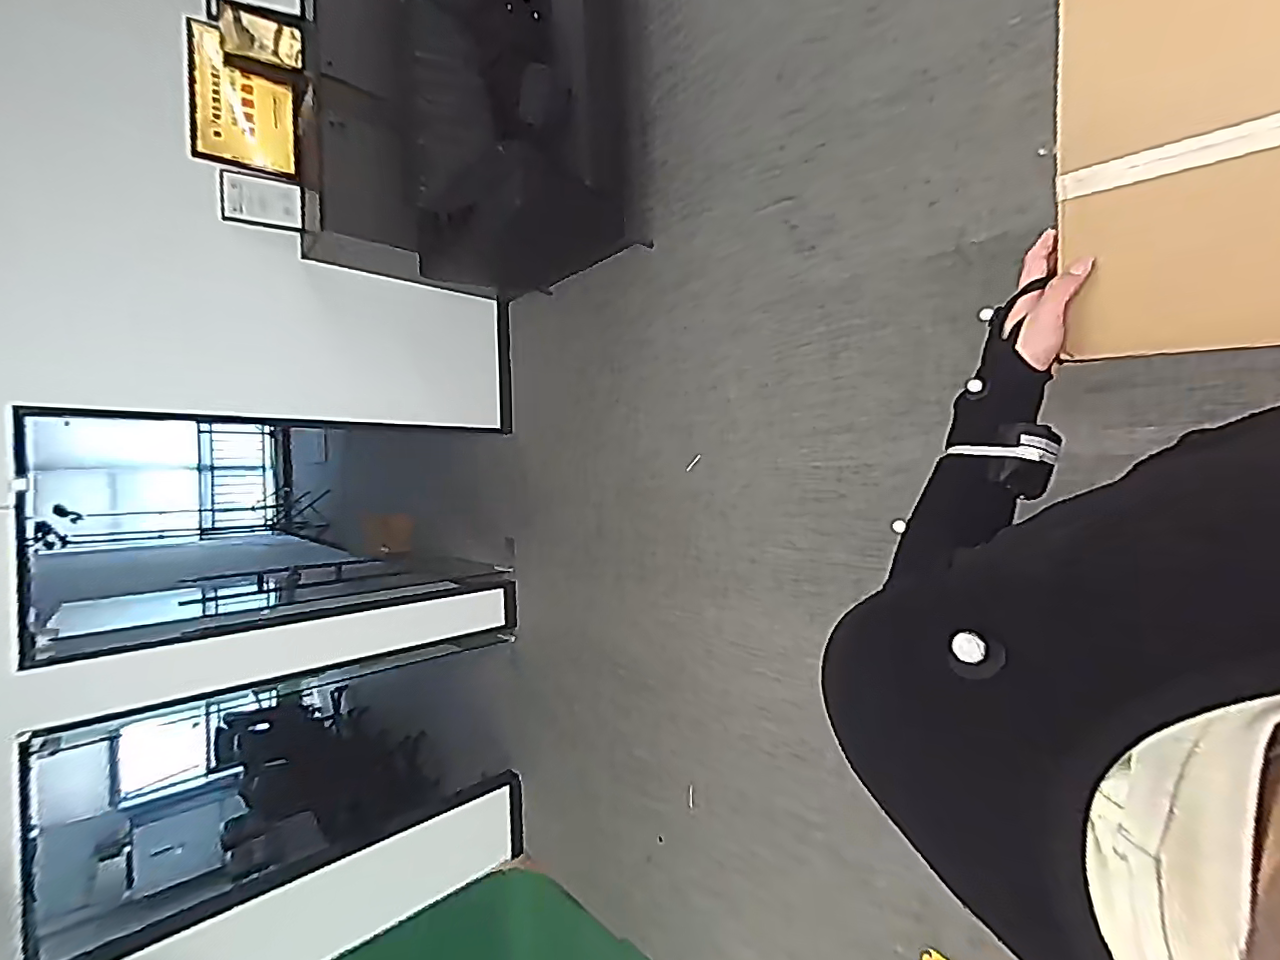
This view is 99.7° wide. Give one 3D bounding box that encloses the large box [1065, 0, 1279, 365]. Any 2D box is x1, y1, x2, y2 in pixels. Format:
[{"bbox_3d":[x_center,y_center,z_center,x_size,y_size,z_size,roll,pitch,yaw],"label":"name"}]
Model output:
[{"bbox_3d":[0.628,-0.292,0.436,0.408,0.320,0.320,5,112,49],"label":"large box"}]
